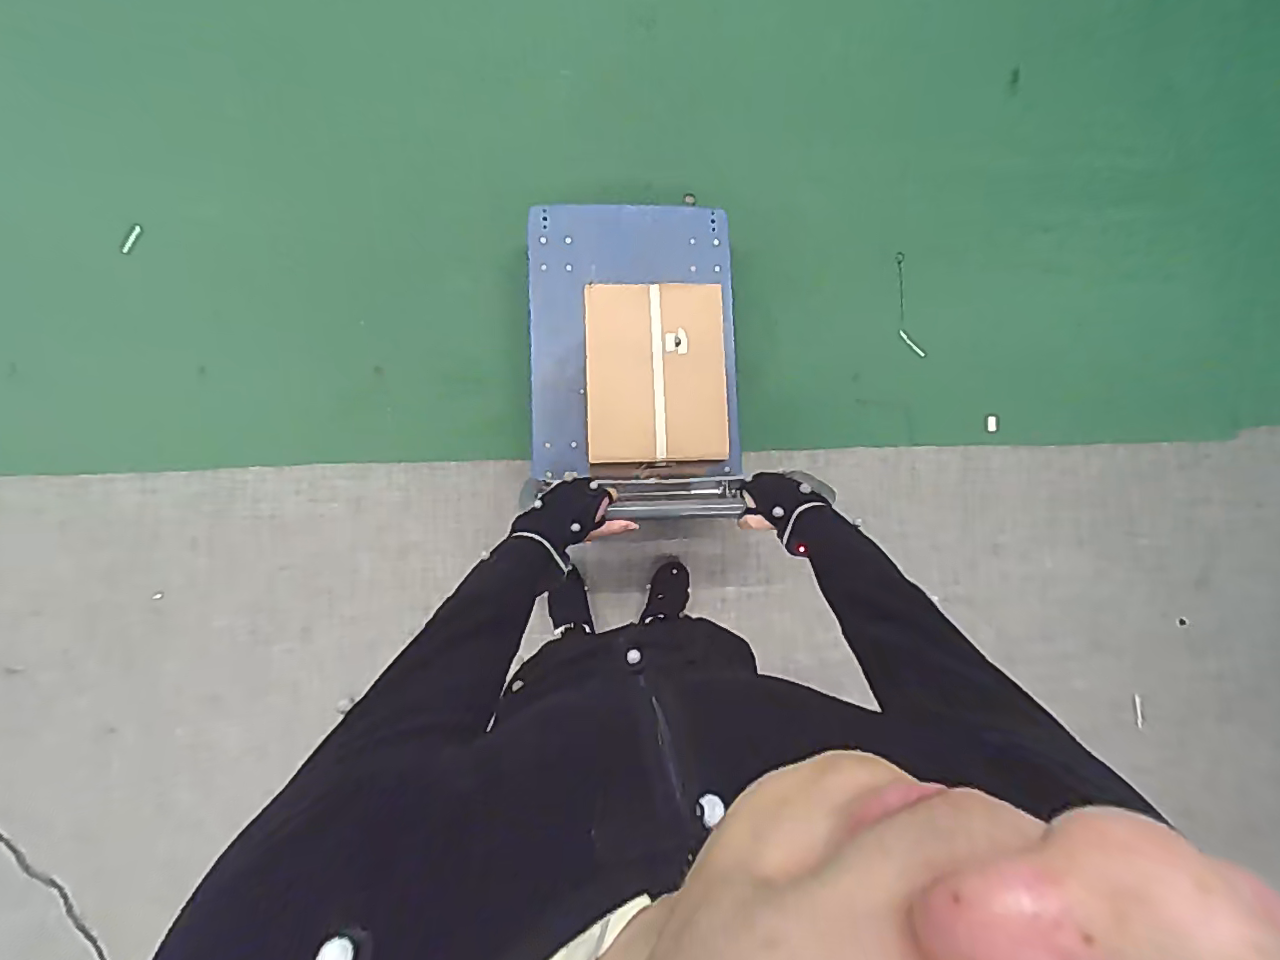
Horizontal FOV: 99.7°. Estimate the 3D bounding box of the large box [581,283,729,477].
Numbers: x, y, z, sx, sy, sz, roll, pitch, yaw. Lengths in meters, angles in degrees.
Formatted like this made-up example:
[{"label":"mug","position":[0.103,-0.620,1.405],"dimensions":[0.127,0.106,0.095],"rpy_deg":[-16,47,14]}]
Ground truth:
[{"label":"large box","position":[0.020,-0.228,1.343],"dimensions":[0.320,0.320,0.408],"rpy_deg":[-2,84,-6]}]
